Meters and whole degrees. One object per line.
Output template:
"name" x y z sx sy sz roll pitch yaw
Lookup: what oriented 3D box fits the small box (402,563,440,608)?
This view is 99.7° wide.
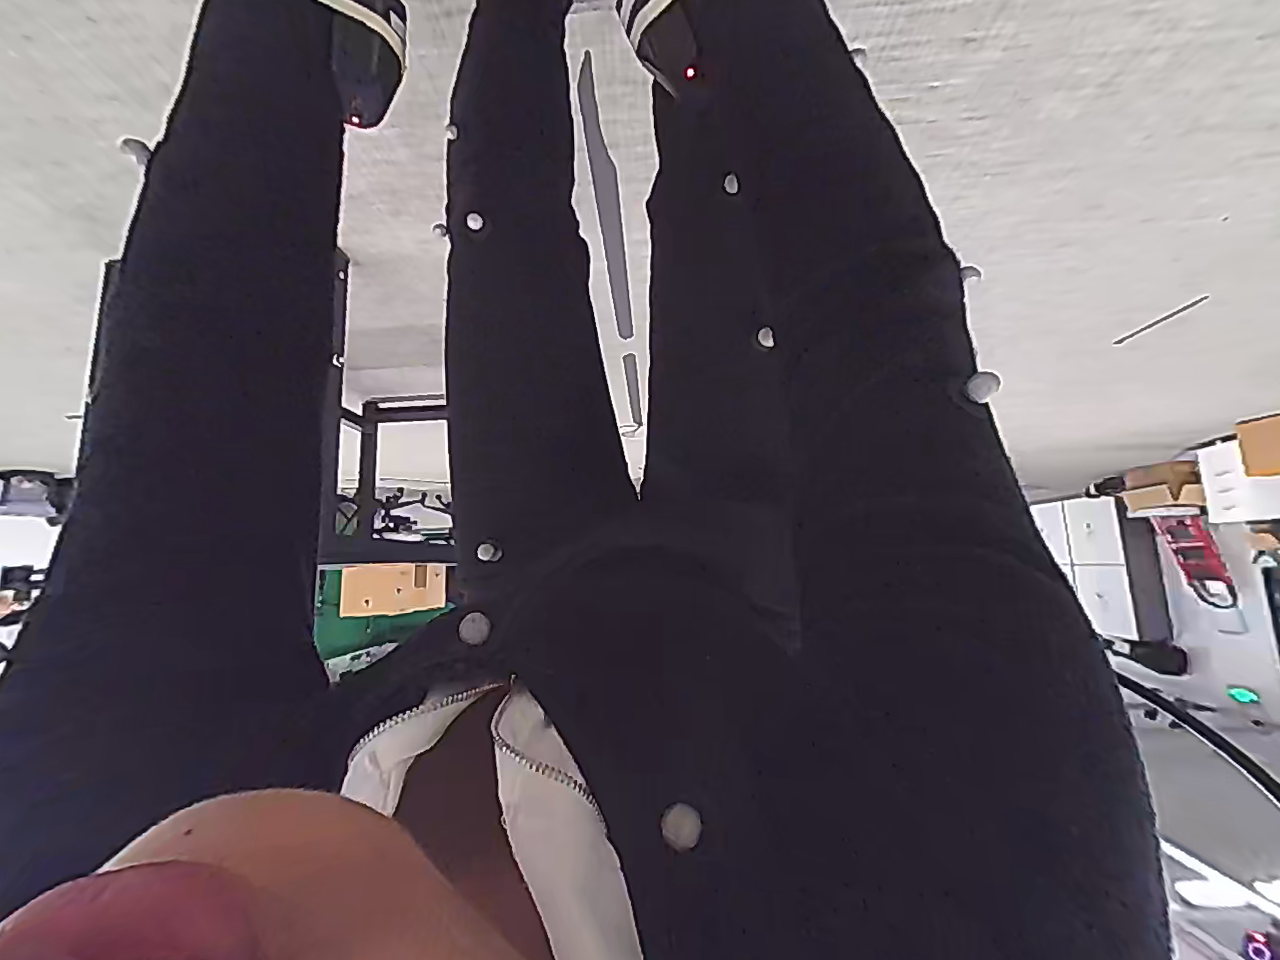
"small box" -0.901 0.415 2.123 0.168 0.176 0.179 -2 170 3

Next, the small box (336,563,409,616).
"small box" -0.918 0.372 1.864 0.179 0.176 0.168 -1 170 2
